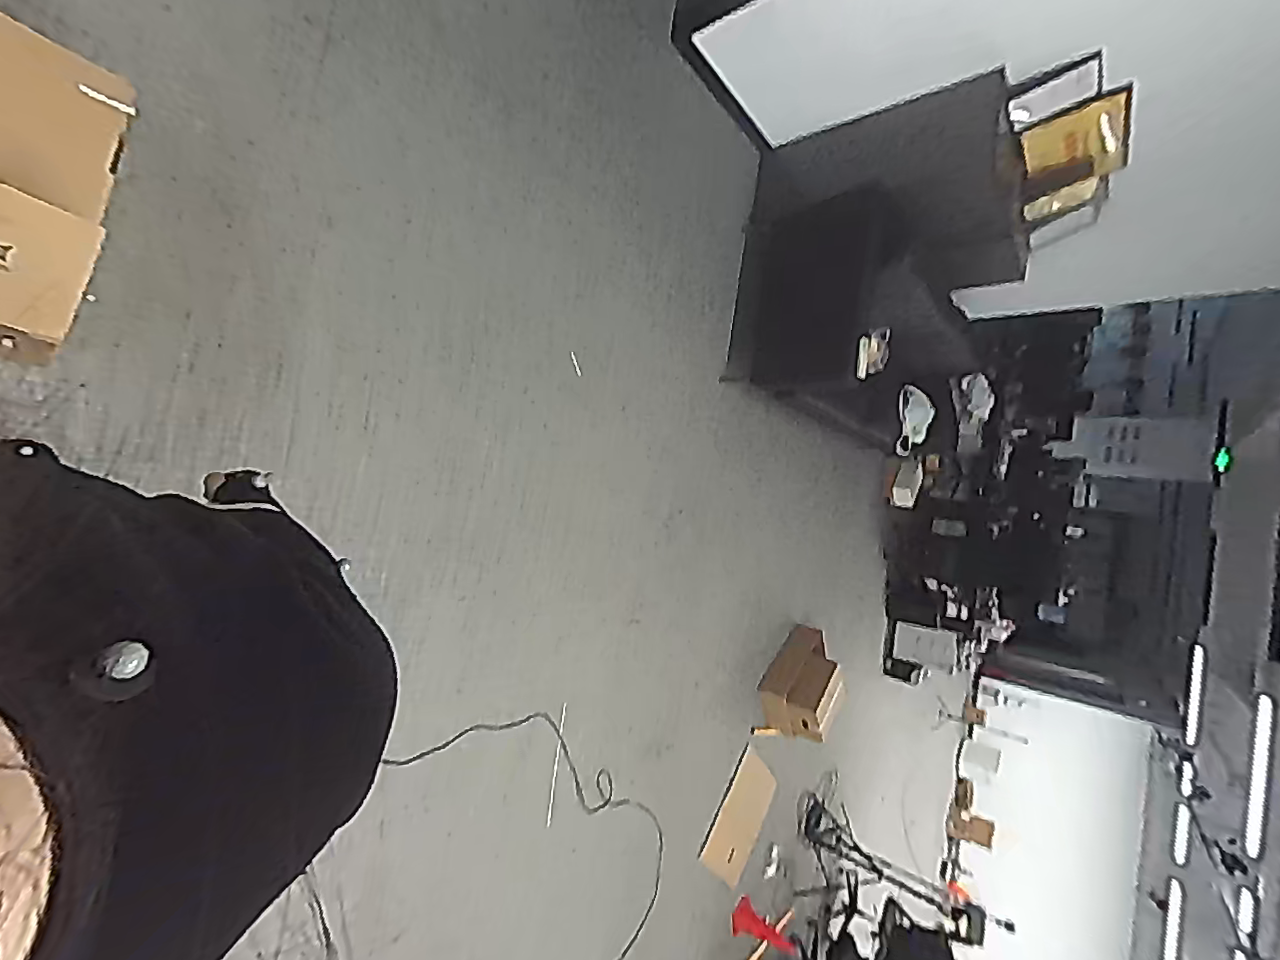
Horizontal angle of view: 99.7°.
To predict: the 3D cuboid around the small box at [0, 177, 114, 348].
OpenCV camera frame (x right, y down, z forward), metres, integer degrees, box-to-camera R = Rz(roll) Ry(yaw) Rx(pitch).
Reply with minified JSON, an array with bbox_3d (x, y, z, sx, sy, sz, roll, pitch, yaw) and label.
[{"bbox_3d":[-0.858,-0.292,0.728,0.168,0.176,0.179,23,76,-50],"label":"small box"}]
